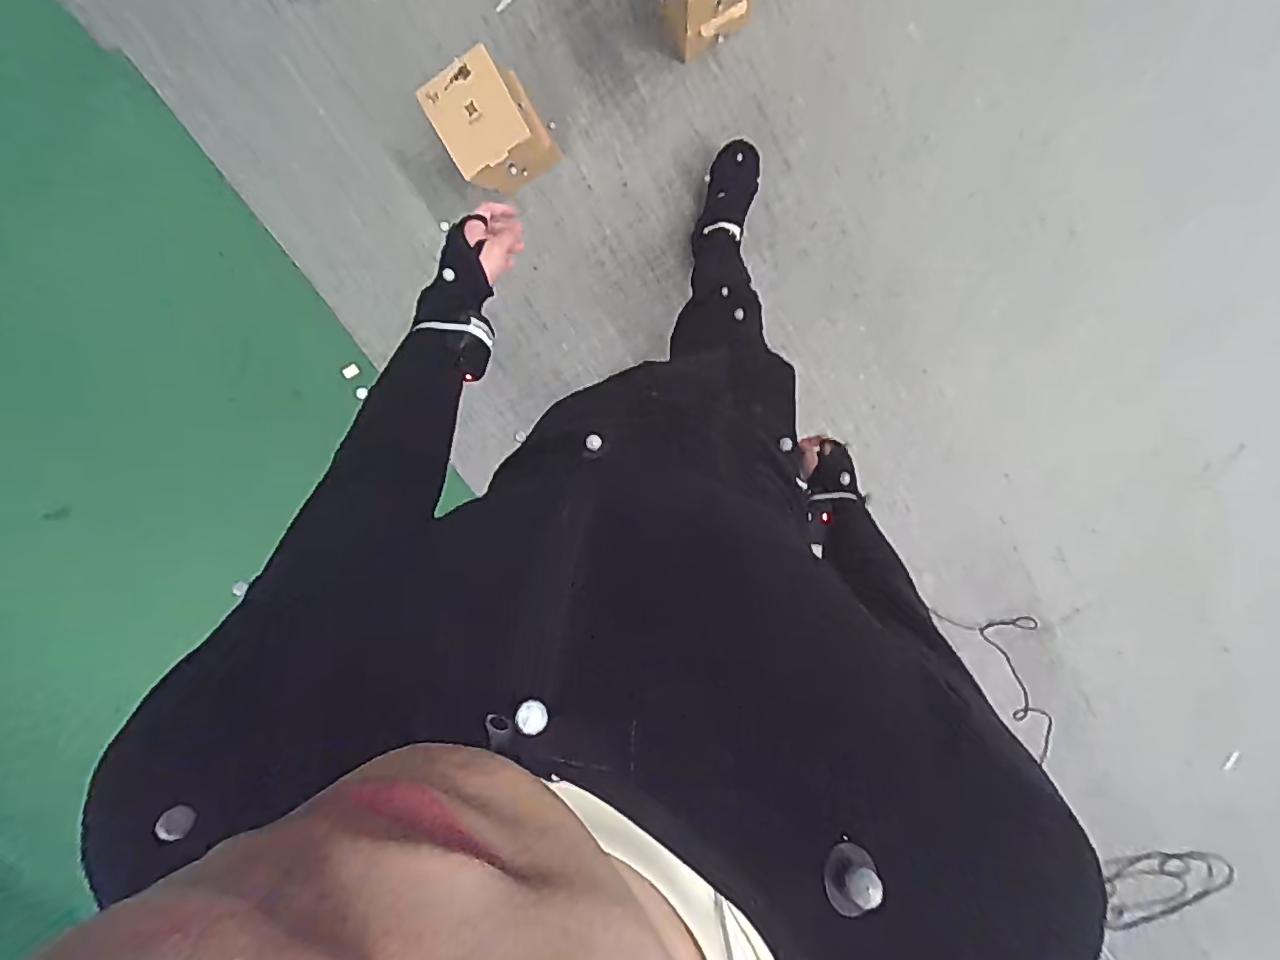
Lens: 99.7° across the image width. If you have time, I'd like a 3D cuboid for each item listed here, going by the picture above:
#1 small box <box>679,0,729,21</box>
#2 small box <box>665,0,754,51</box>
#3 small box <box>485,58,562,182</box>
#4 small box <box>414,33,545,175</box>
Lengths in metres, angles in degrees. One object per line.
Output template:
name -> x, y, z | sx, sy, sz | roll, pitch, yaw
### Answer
small box -> 0.128, -0.998, 0.980 | 0.168, 0.176, 0.179 | -24, 109, 12
small box -> 0.133, -1.054, 1.130 | 0.168, 0.176, 0.179 | -17, 111, 13
small box -> -0.305, -0.823, 1.259 | 0.179, 0.176, 0.168 | -25, 110, 13
small box -> -0.317, -0.754, 1.111 | 0.168, 0.176, 0.179 | -25, 110, 13
